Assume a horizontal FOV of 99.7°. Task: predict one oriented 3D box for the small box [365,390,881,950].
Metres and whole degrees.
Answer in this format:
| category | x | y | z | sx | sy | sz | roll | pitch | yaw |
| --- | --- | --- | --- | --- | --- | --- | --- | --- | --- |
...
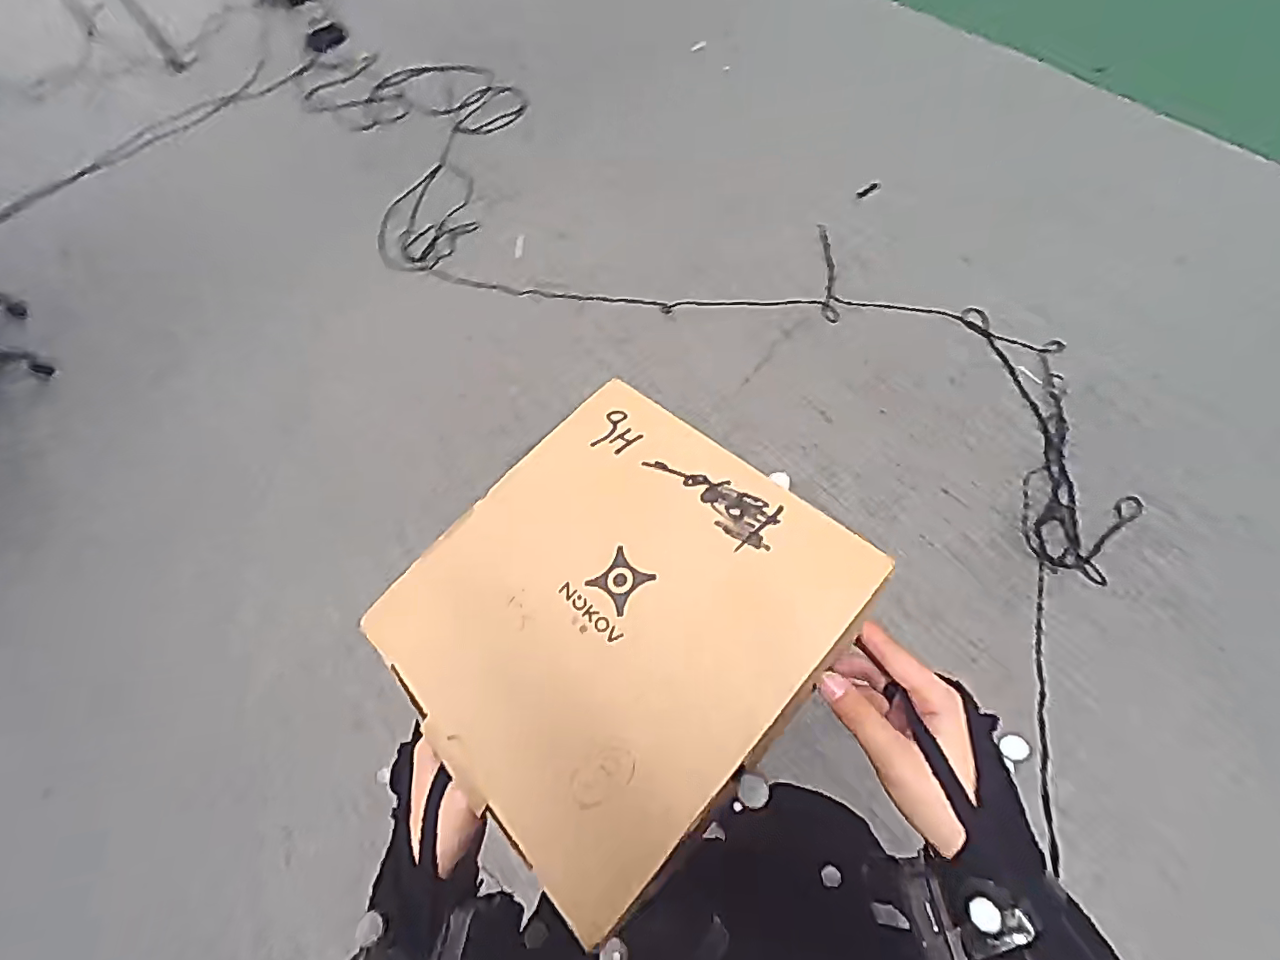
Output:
| category | x | y | z | sx | sy | sz | roll | pitch | yaw |
| --- | --- | --- | --- | --- | --- | --- | --- | --- | --- |
| small box | 0.001 | 0.092 | 0.300 | 0.179 | 0.176 | 0.168 | -45 | 61 | -12 |
